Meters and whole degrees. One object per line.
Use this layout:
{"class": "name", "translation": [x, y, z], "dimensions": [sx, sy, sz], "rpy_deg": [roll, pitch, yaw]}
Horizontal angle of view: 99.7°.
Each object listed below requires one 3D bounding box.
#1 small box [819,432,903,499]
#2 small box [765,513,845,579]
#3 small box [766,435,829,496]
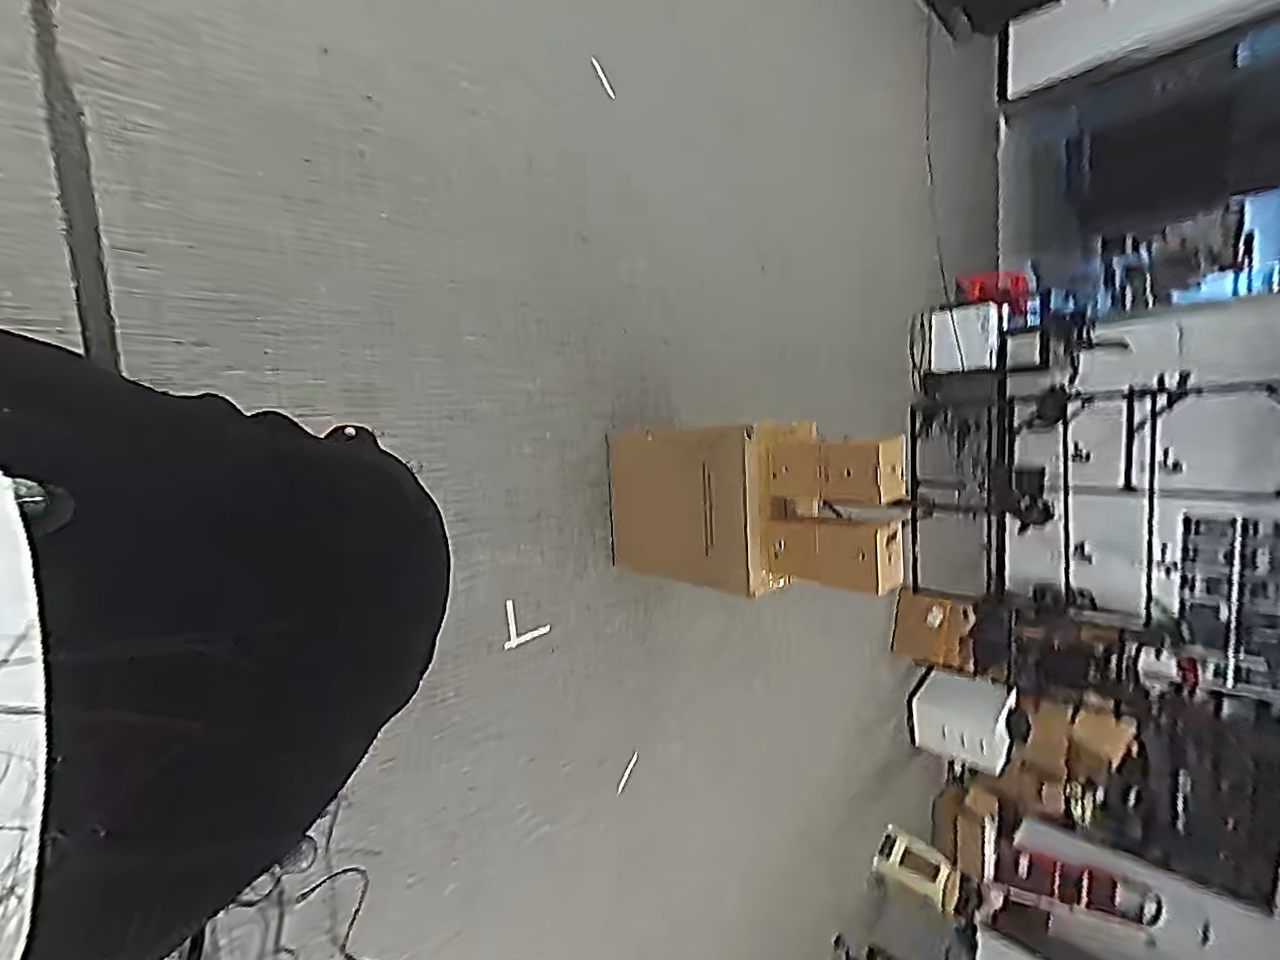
{"class": "small box", "translation": [0.613, -0.042, 1.510], "dimensions": [0.179, 0.176, 0.168], "rpy_deg": [-12, 101, -42]}
{"class": "small box", "translation": [0.501, 0.194, 1.644], "dimensions": [0.179, 0.176, 0.168], "rpy_deg": [-8, 95, -42]}
{"class": "small box", "translation": [0.498, -0.049, 1.628], "dimensions": [0.179, 0.176, 0.168], "rpy_deg": [-11, 100, -42]}
